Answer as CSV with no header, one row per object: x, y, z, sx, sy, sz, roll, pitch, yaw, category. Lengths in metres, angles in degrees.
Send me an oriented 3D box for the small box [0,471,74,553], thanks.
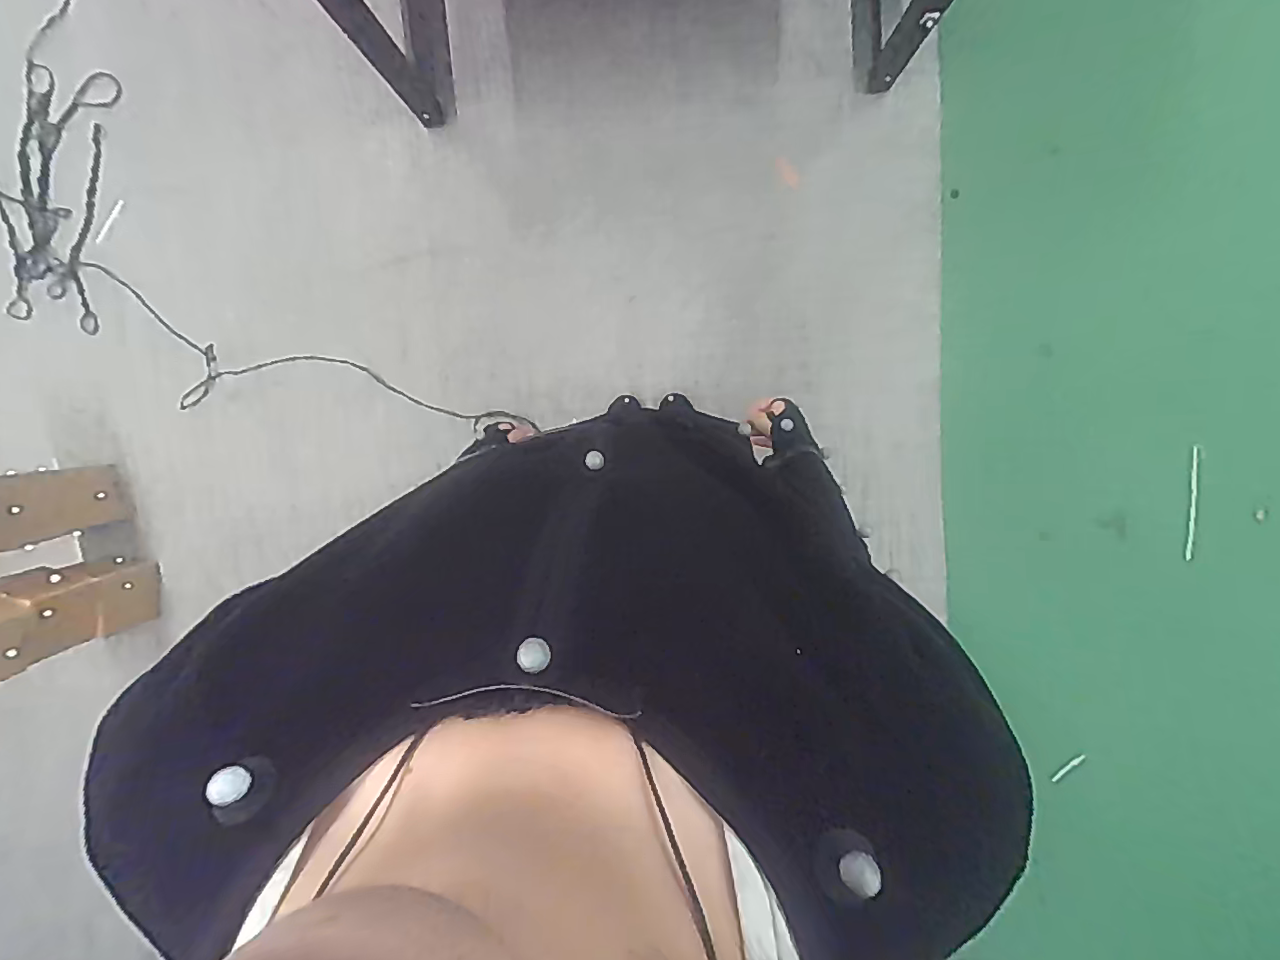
-1.577,0.089,1.333,0.168,0.176,0.179,-16,97,3,small box

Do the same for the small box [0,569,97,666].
-1.540,0.346,1.370,0.168,0.176,0.179,13,97,1,small box

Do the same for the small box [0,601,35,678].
-1.538,0.369,1.207,0.179,0.176,0.168,18,97,0,small box

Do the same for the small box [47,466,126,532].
-1.585,0.061,1.493,0.179,0.176,0.168,-12,97,4,small box
